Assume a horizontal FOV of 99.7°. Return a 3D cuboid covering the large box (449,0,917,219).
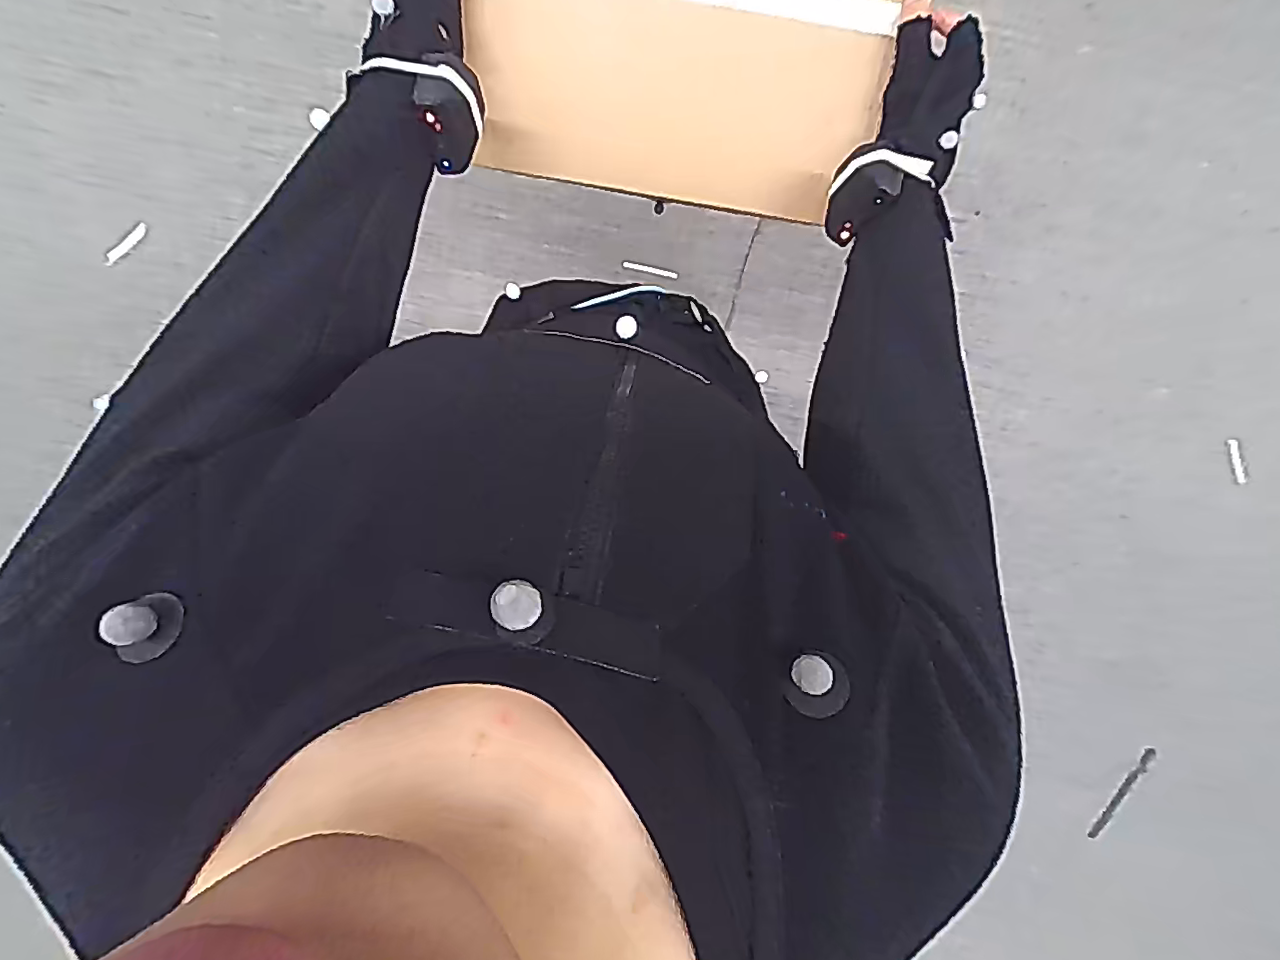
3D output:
[{"bbox_3d":[0.047,-0.488,0.590,0.408,0.320,0.320,10,116,0],"label":"large box"}]
